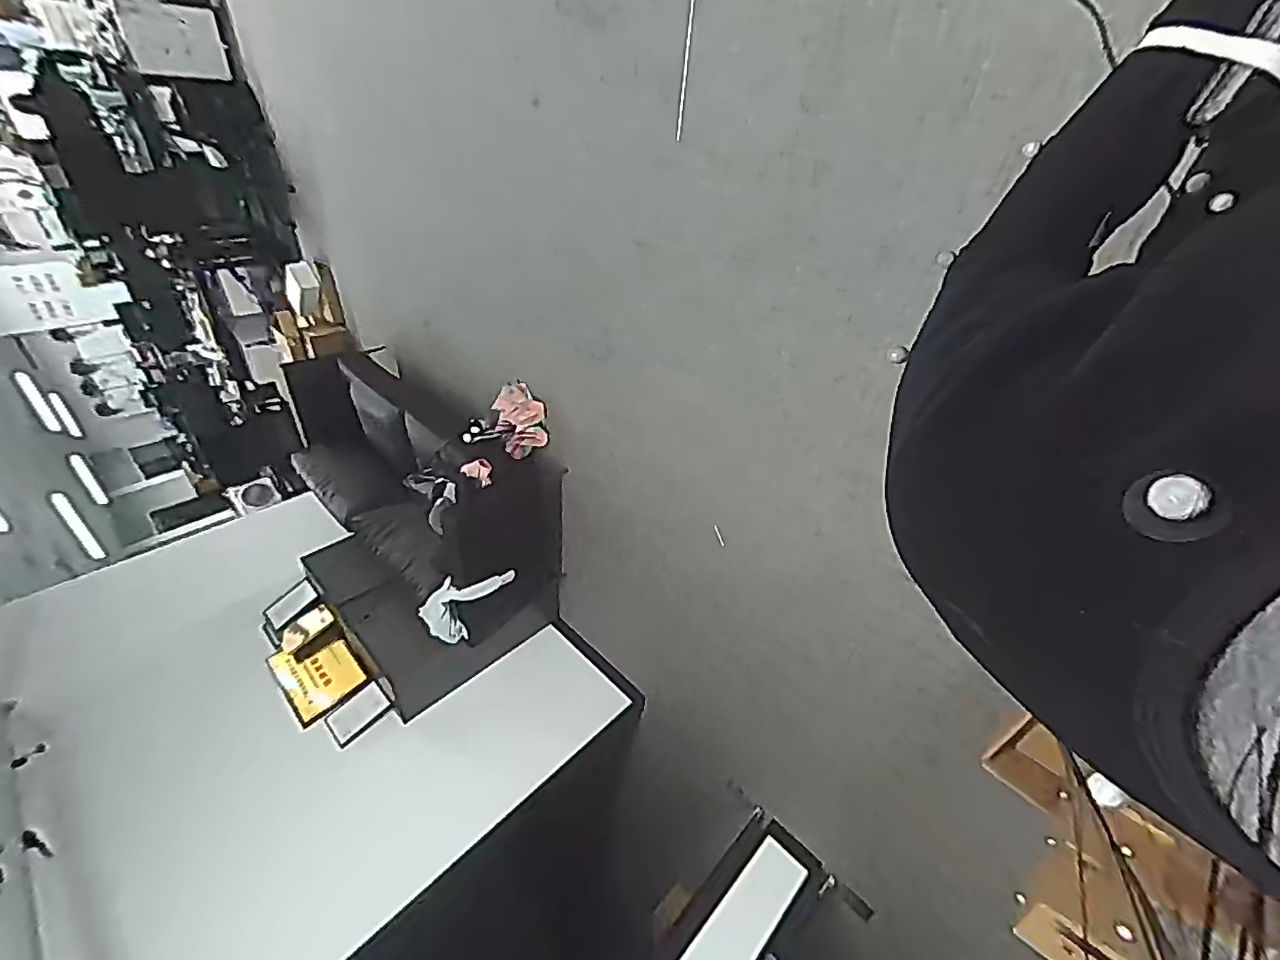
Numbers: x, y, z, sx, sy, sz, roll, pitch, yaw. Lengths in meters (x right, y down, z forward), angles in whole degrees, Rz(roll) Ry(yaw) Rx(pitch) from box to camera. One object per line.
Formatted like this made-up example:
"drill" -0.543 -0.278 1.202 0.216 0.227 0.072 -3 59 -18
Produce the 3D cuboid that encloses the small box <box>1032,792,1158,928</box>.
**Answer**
"small box" 1.088 0.900 1.294 0.179 0.176 0.168 30 132 32

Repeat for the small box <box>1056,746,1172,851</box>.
"small box" 1.209 0.828 1.380 0.168 0.176 0.179 34 133 29
